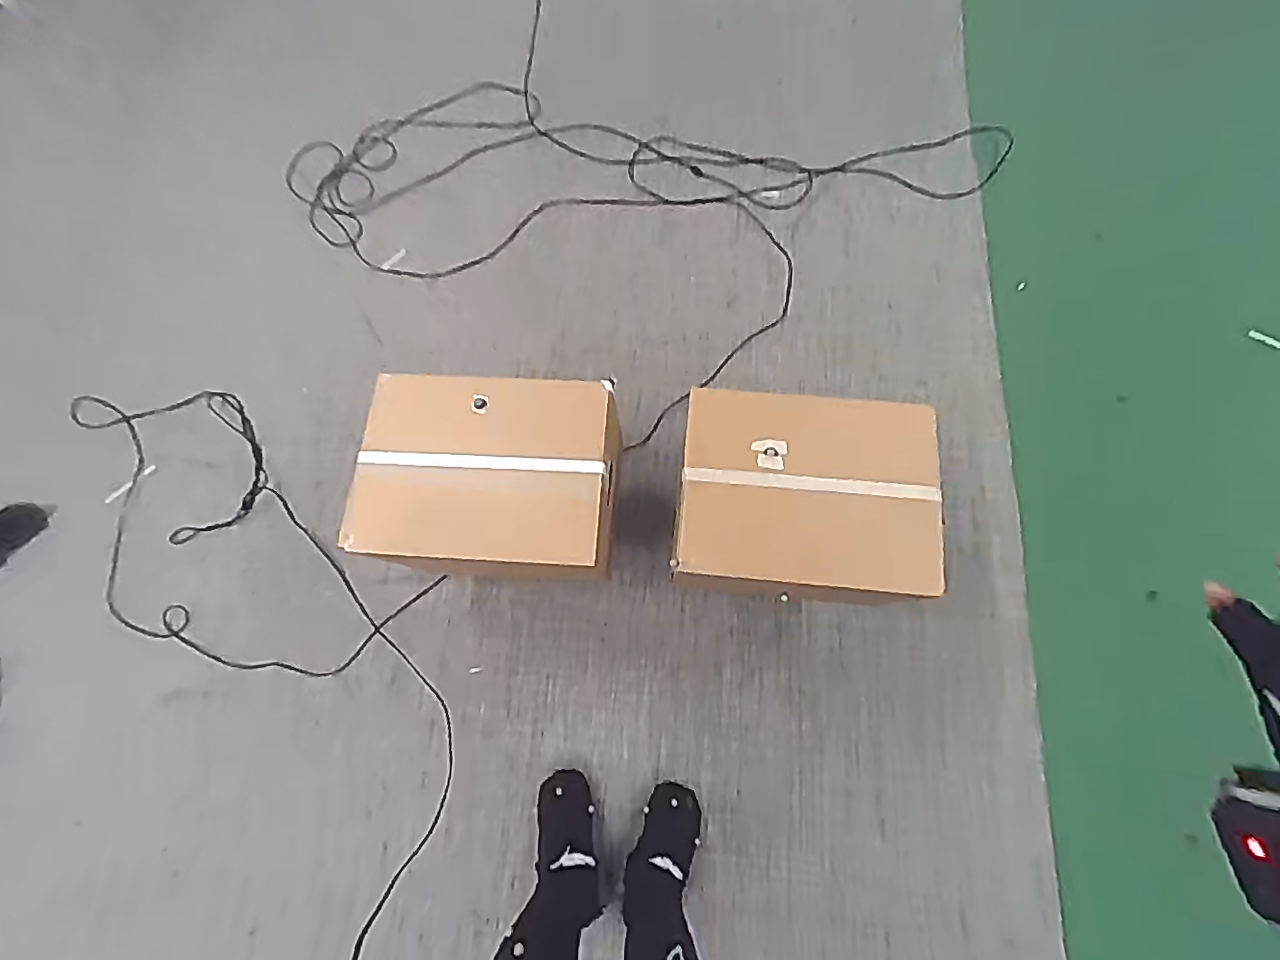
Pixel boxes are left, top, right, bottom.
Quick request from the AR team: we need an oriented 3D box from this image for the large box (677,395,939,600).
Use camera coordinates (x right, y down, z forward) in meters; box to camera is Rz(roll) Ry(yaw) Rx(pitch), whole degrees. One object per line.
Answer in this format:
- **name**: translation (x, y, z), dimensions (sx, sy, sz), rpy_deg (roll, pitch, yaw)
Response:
- **large box**: translation (0.284, 0.053, 1.021), dimensions (0.408, 0.320, 0.320), rpy_deg (5, 75, 4)
